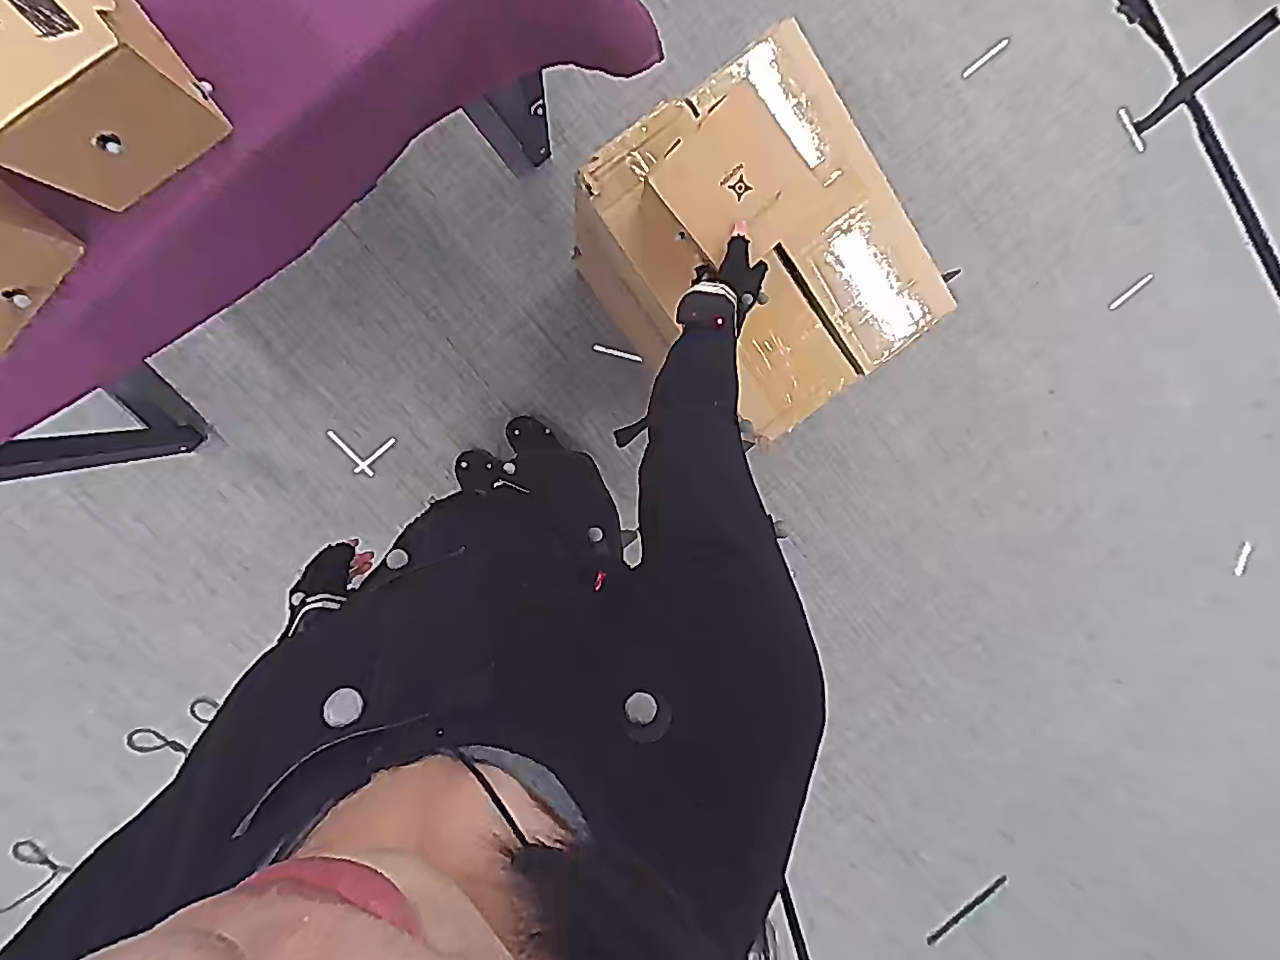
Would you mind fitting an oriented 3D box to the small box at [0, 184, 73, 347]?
[{"bbox_3d":[-0.771,-0.259,0.561,0.168,0.176,0.179,40,90,-10],"label":"small box"}]

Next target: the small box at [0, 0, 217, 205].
[{"bbox_3d":[-0.593,-0.427,0.558,0.179,0.176,0.168,-35,100,0],"label":"small box"}]

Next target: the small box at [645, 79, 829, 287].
[{"bbox_3d":[0.120,-0.390,0.752,0.168,0.176,0.179,-41,104,10],"label":"small box"}]
